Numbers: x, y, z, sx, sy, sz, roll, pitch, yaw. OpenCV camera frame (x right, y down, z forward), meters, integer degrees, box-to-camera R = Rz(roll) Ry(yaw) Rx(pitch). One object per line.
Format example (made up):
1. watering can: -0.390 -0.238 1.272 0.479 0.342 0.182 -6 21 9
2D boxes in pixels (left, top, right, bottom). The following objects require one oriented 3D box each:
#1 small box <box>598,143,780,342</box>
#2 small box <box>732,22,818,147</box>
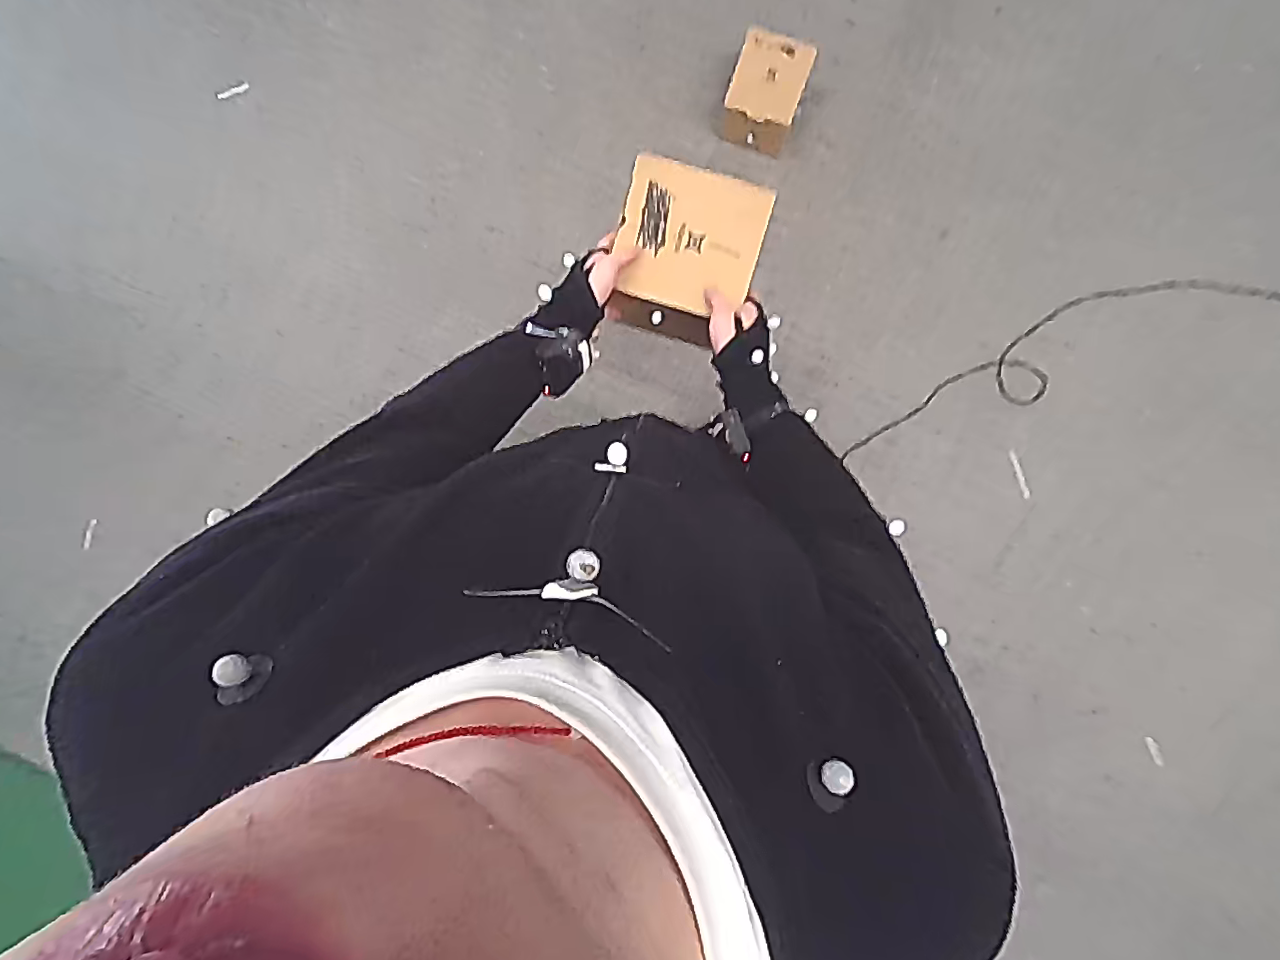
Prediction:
1. small box: 0.061 -0.301 0.727 0.179 0.176 0.168 22 94 1
2. small box: 0.322 -0.949 1.317 0.179 0.176 0.168 -9 94 8
